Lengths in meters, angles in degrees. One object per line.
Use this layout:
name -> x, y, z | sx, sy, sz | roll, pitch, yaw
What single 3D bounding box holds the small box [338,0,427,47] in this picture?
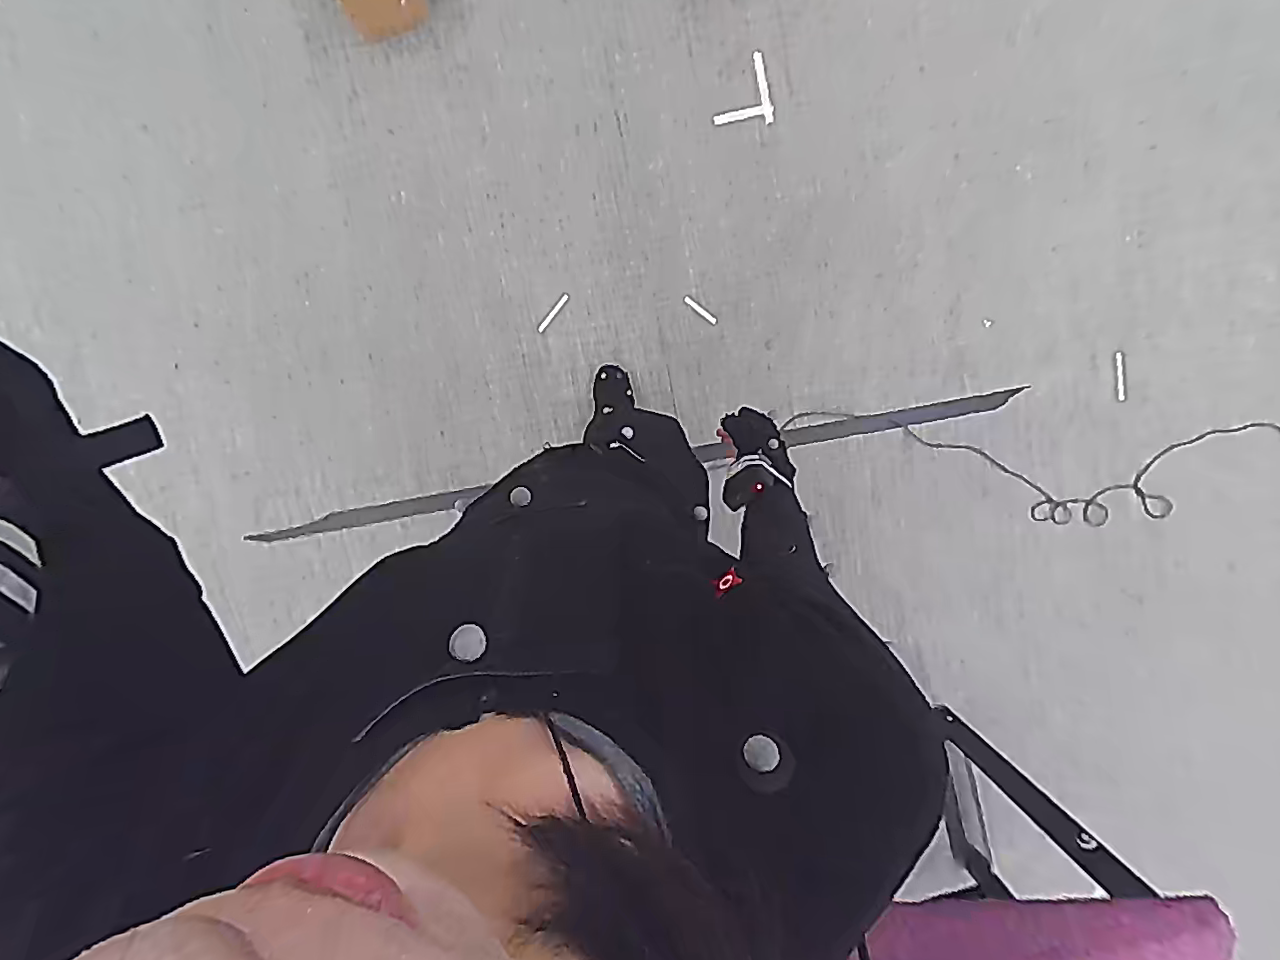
small box -> -0.622, -1.175, 1.261 | 0.179, 0.176, 0.168 | -23, 96, 1
